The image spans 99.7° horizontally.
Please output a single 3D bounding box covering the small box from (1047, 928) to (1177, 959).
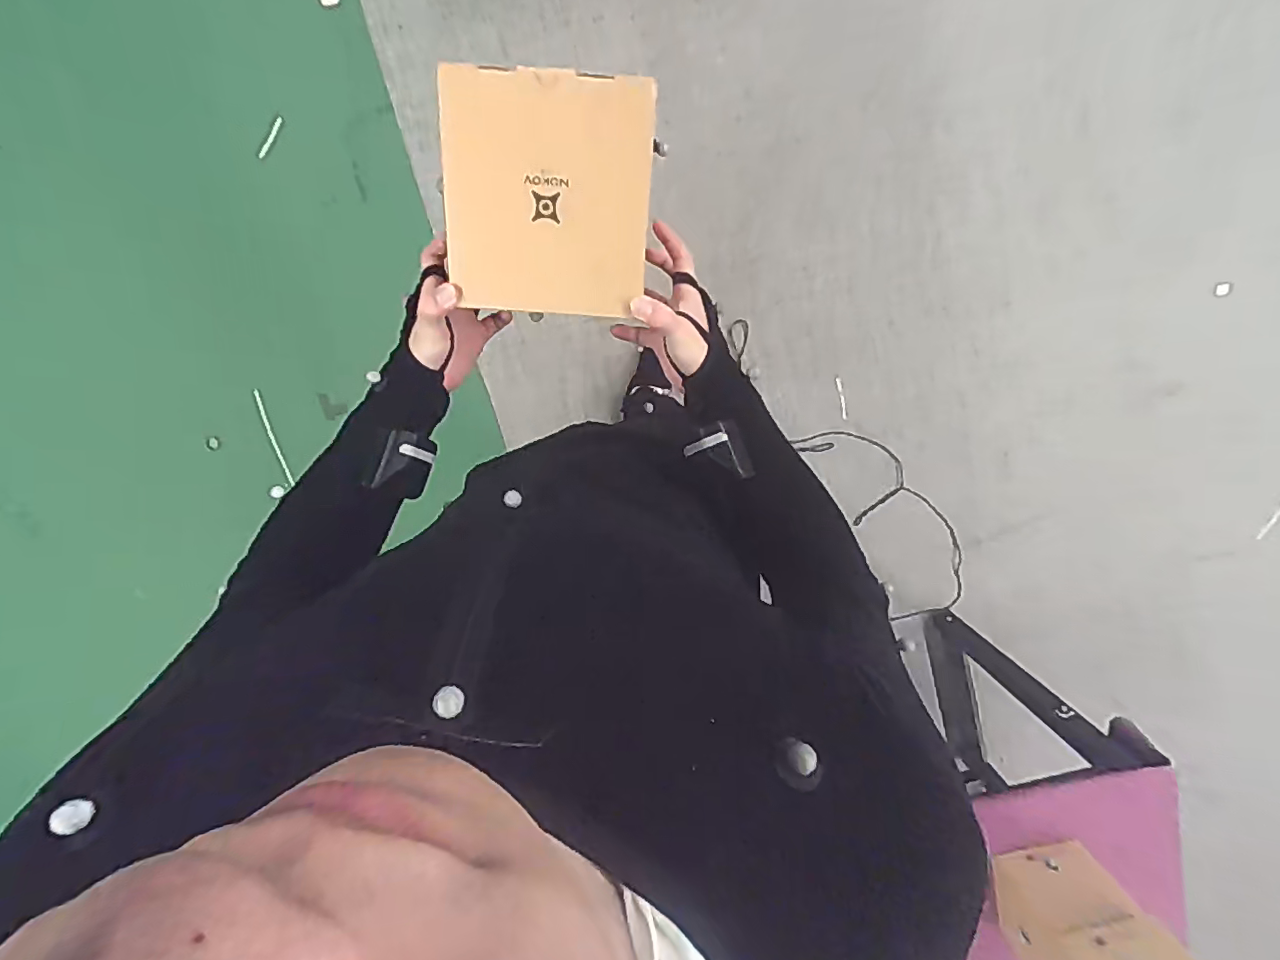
[{"bbox_3d":[0.752,0.819,0.810,0.168,0.176,0.179,-16,101,4],"label":"small box"}]

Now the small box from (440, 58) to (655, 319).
[{"bbox_3d":[-0.075,-0.256,0.508,0.168,0.176,0.179,5,111,-1],"label":"small box"}]
